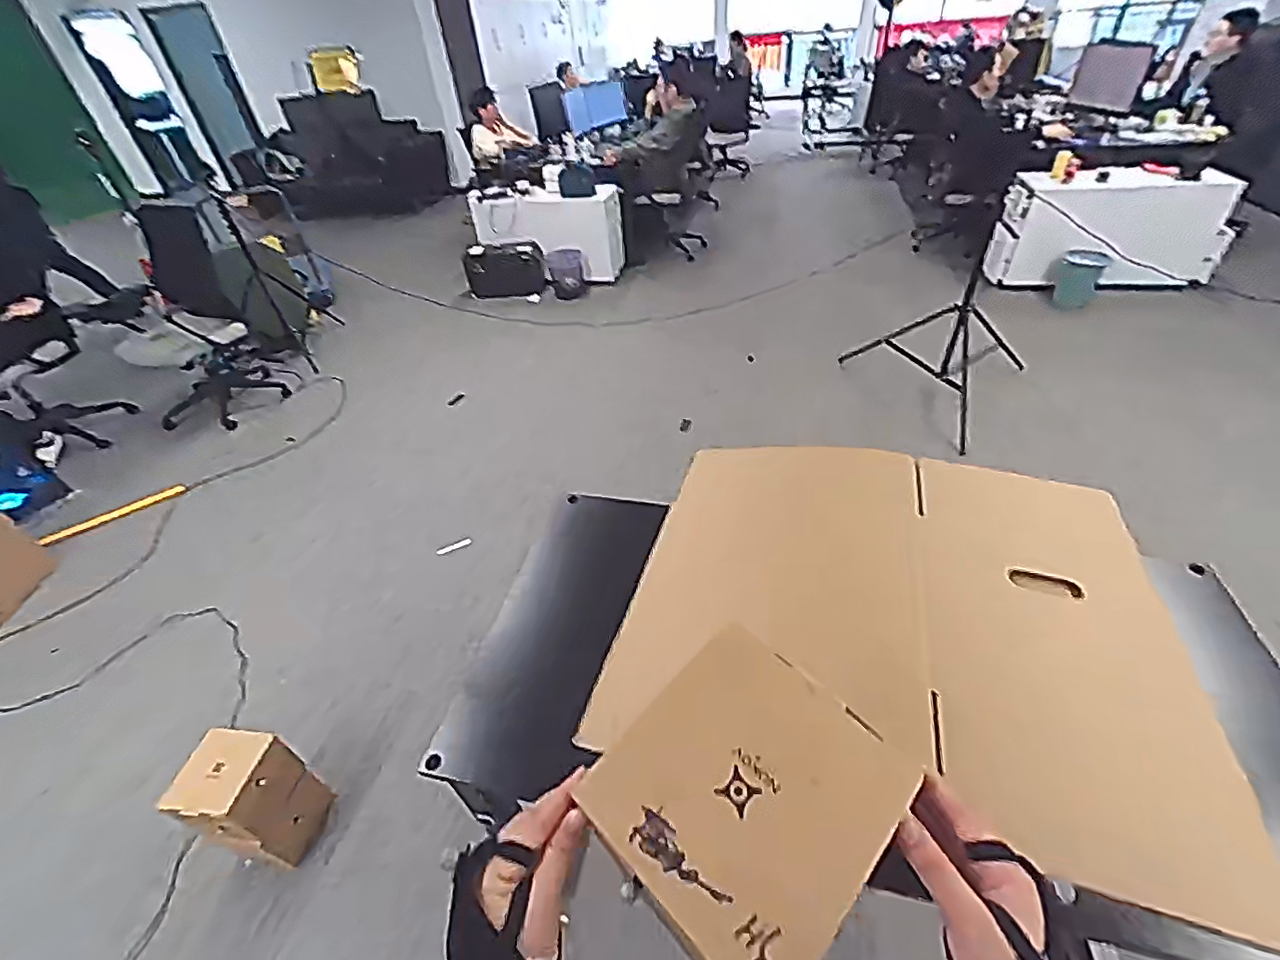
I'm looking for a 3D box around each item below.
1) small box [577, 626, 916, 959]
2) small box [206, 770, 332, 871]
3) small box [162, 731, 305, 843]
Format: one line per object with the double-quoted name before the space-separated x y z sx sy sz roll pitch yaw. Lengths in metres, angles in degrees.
"small box" 0.074 0.258 0.422 0.168 0.176 0.179 33 56 31
"small box" -0.913 0.842 1.355 0.168 0.176 0.179 3 41 10
"small box" -0.925 0.714 1.256 0.168 0.176 0.179 1 39 7
